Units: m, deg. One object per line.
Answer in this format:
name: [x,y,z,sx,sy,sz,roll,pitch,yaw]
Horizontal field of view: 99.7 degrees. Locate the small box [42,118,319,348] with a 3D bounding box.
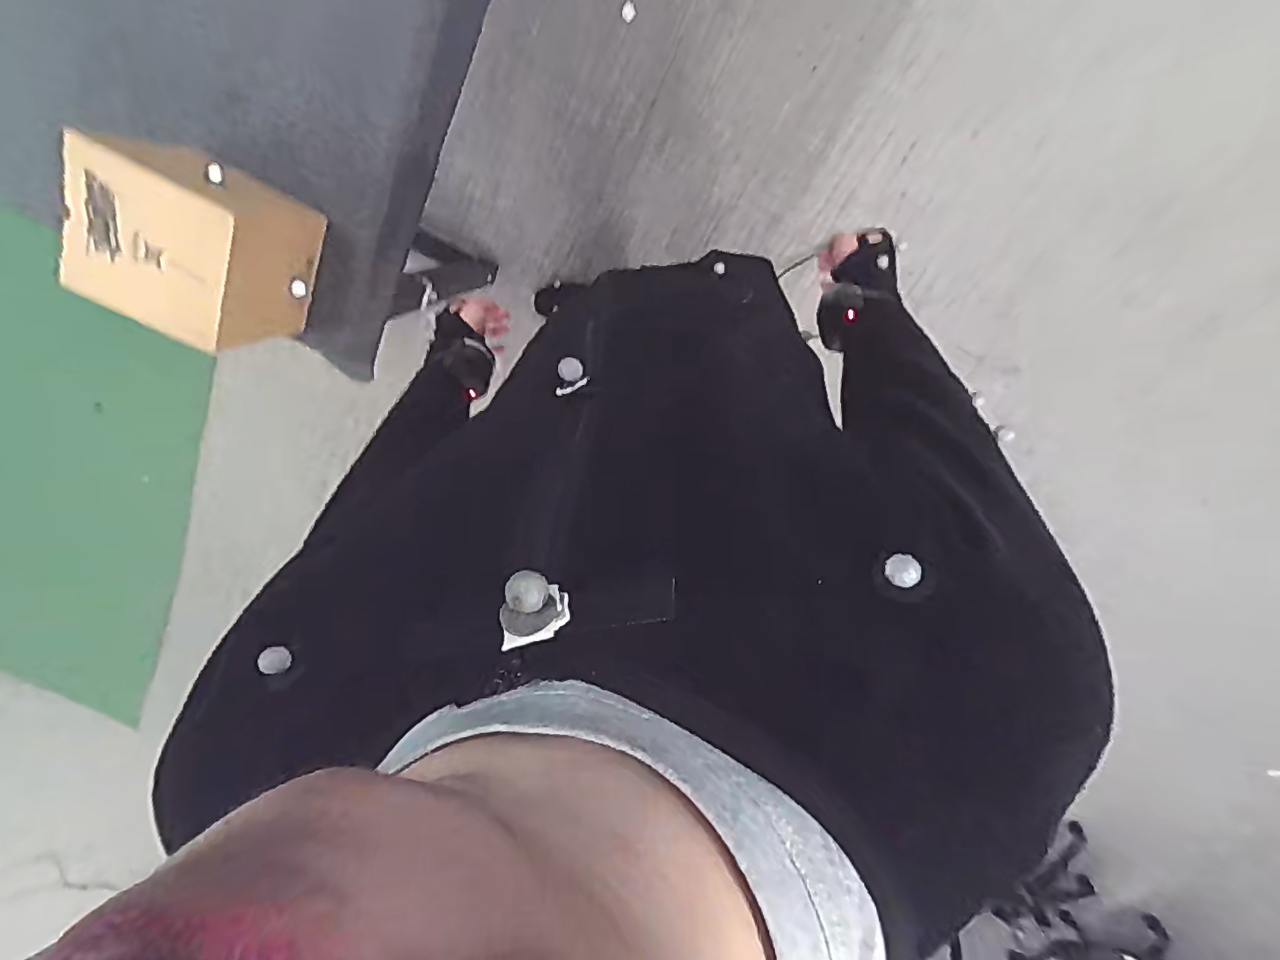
small box: [-0.525,-0.280,0.635,0.179,0.176,0.168,26,114,-8]
